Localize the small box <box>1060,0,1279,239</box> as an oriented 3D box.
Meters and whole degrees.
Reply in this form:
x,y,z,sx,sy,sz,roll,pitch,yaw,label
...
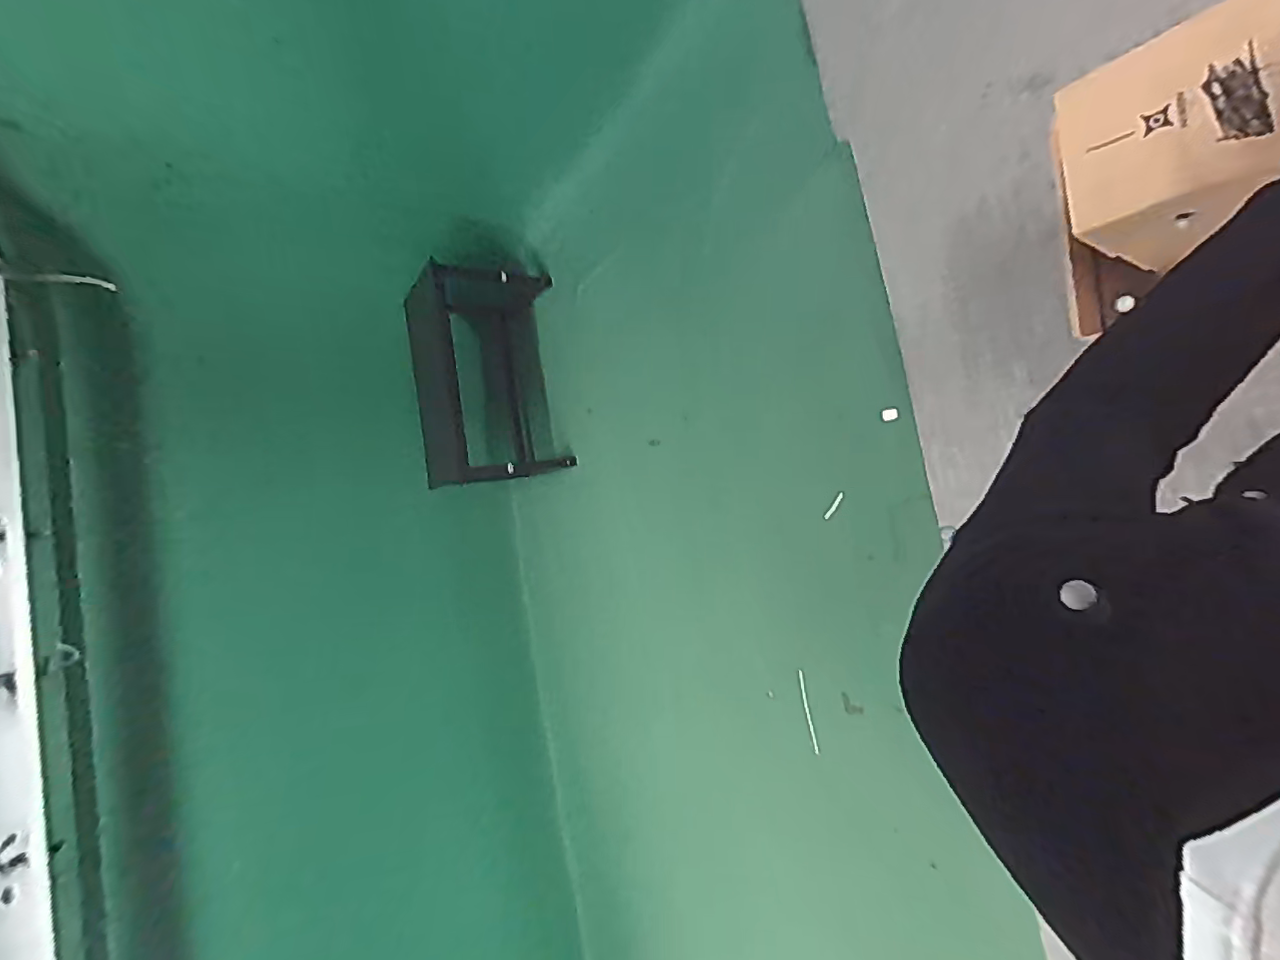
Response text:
x,y,z,sx,sy,sz,roll,pitch,yaw,label
0.606,-0.390,0.597,0.179,0.176,0.168,-7,90,55,small box
